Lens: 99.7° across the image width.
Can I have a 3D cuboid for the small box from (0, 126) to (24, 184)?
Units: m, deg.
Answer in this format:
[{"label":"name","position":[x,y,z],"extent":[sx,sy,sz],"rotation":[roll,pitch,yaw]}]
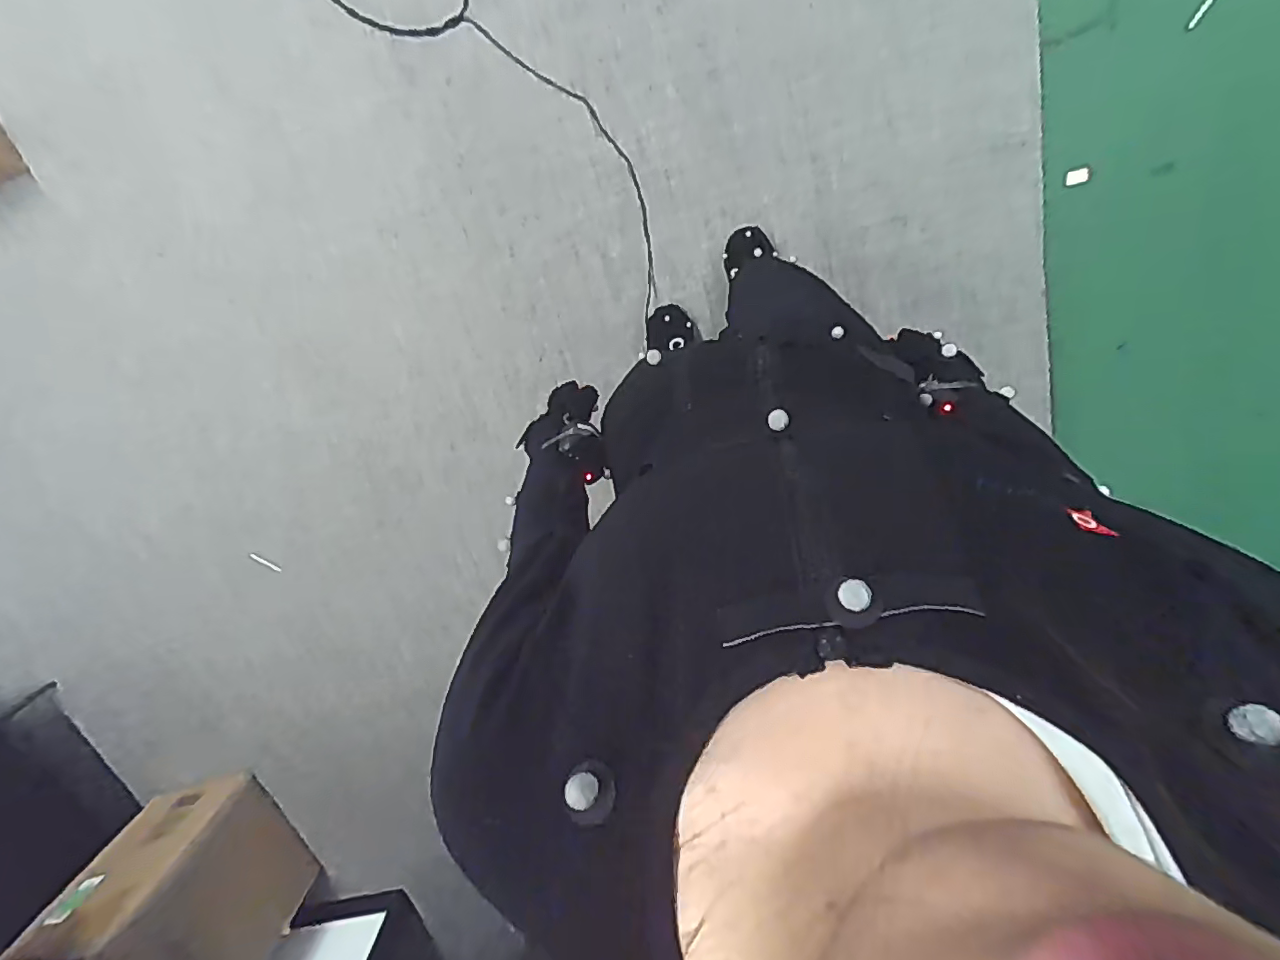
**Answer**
[{"label":"small box","position":[-1.577,-0.759,1.209],"extent":[0.179,0.176,0.168],"rotation":[-17,110,8]}]
